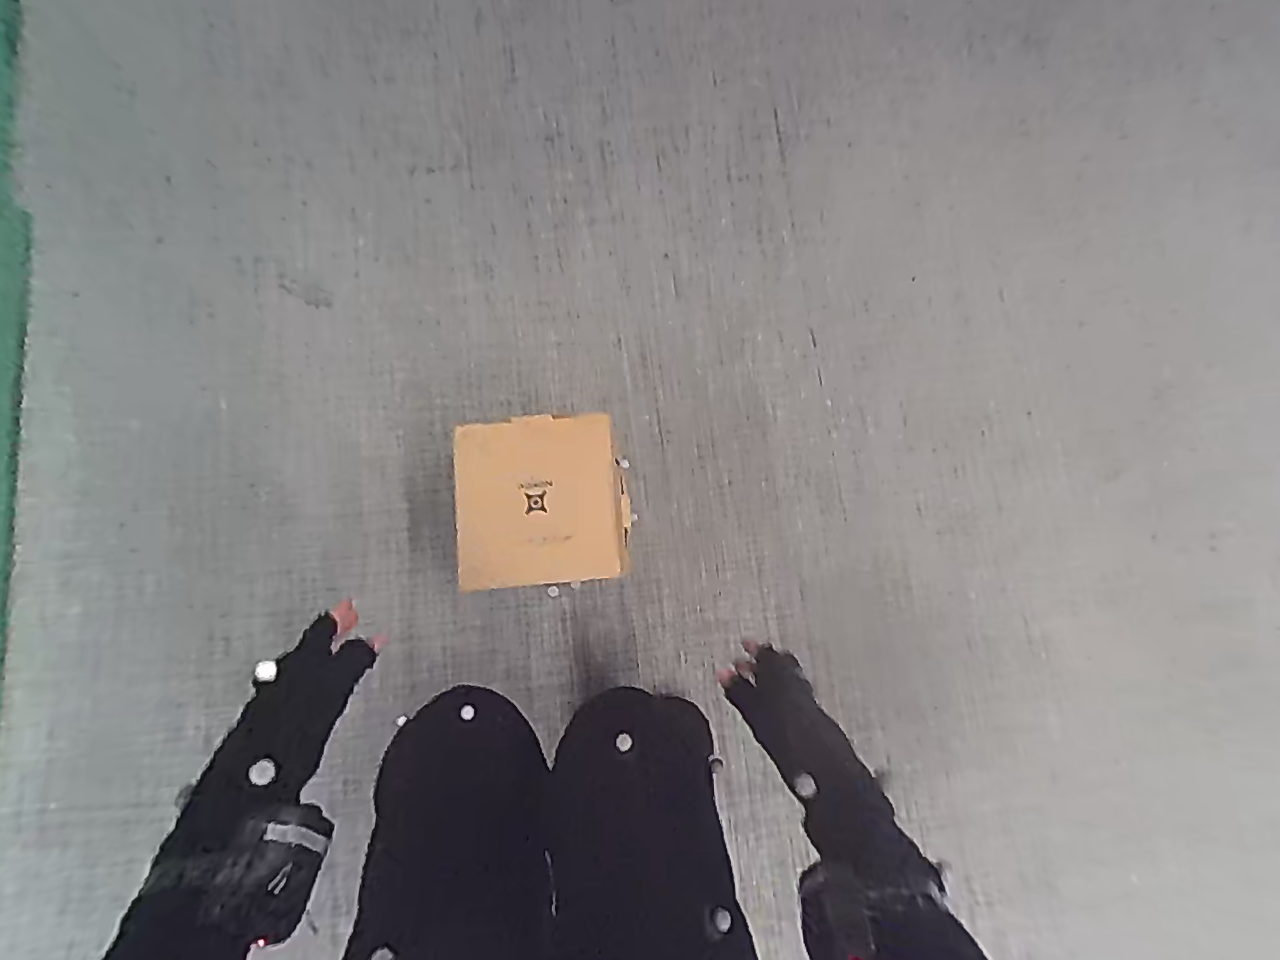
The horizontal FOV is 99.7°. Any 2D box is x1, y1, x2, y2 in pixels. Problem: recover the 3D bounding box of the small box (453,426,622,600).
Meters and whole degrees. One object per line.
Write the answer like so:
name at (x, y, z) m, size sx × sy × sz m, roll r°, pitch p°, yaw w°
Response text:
small box at (-0.111, 0.046, 0.640) m, size 0.168 × 0.176 × 0.179 m, roll -4°, pitch 81°, yaw 1°
